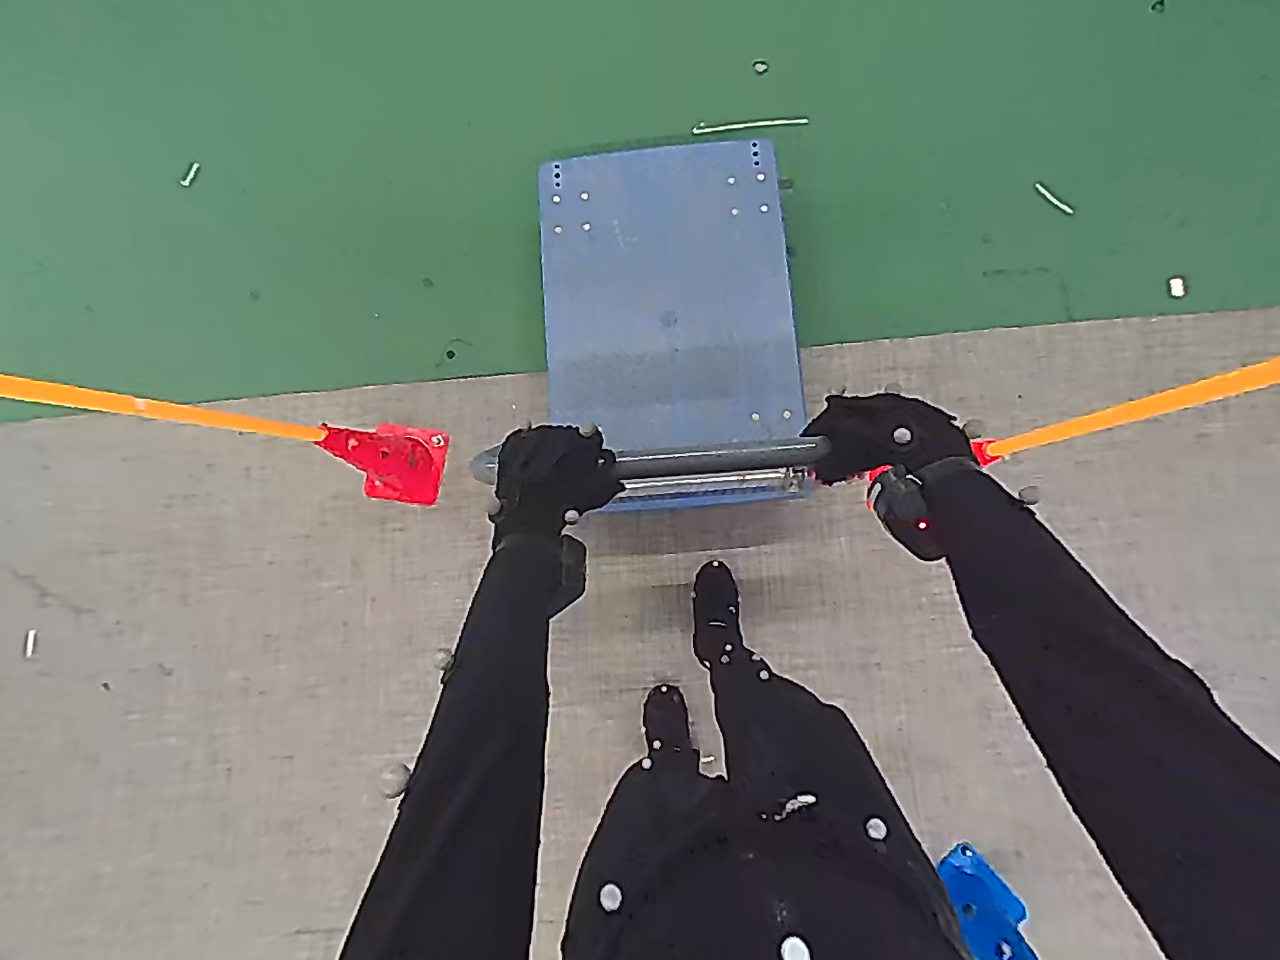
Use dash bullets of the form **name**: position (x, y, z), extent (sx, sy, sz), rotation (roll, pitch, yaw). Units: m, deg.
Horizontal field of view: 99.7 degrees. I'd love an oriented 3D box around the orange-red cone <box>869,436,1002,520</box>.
- **orange-red cone**: position (0.665, -0.028, 1.174), extent (0.198, 0.360, 0.199), rotation (7, 83, 5)
